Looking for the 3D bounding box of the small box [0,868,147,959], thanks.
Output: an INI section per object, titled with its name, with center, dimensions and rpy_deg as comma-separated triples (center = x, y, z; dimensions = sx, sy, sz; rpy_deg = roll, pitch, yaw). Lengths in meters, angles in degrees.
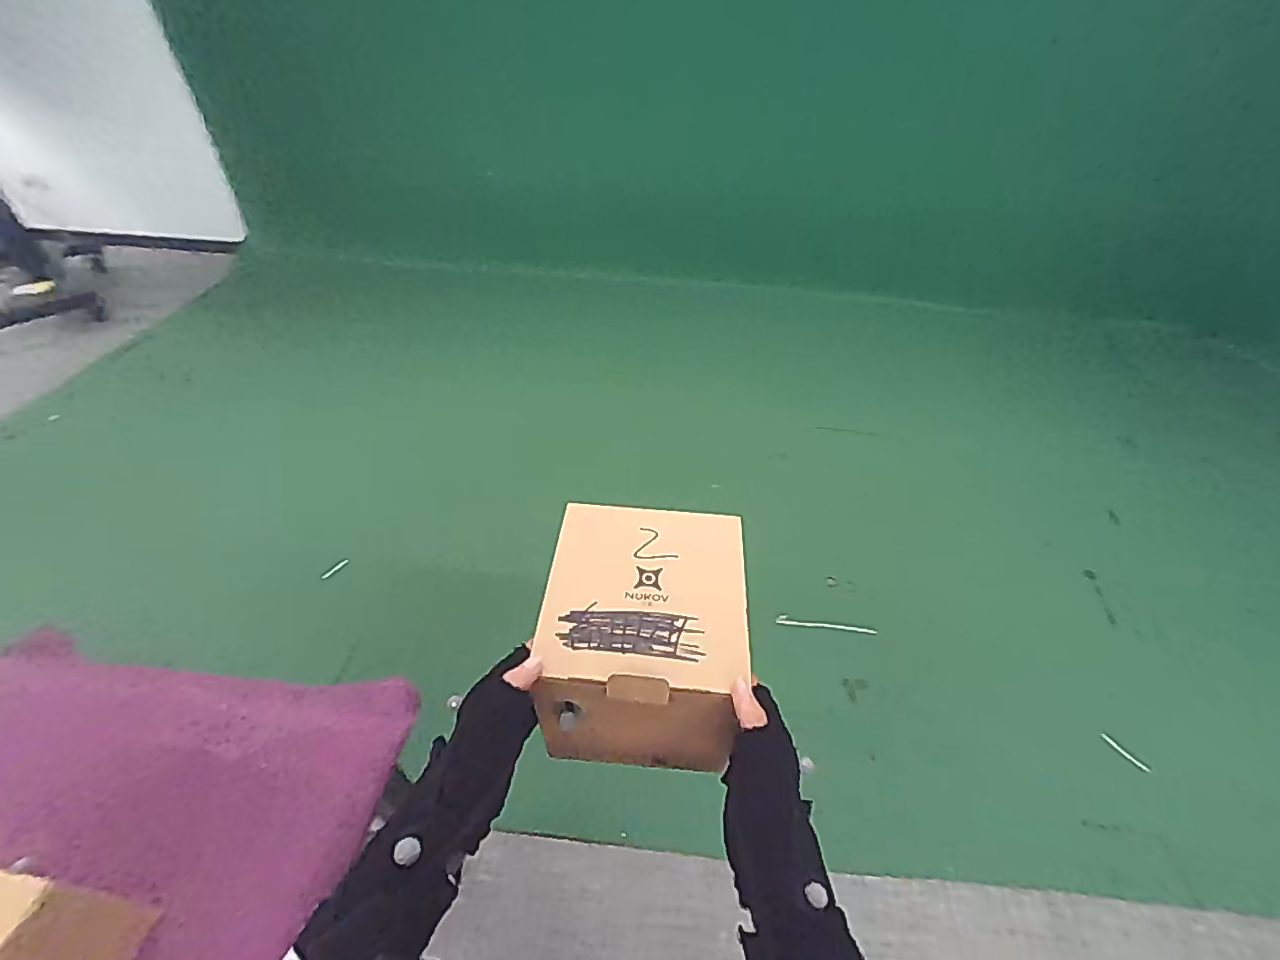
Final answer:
[small box]
center = -0.614, 0.453, 0.479
dimensions = 0.179, 0.176, 0.168
rpy_deg = 9, 43, 6
